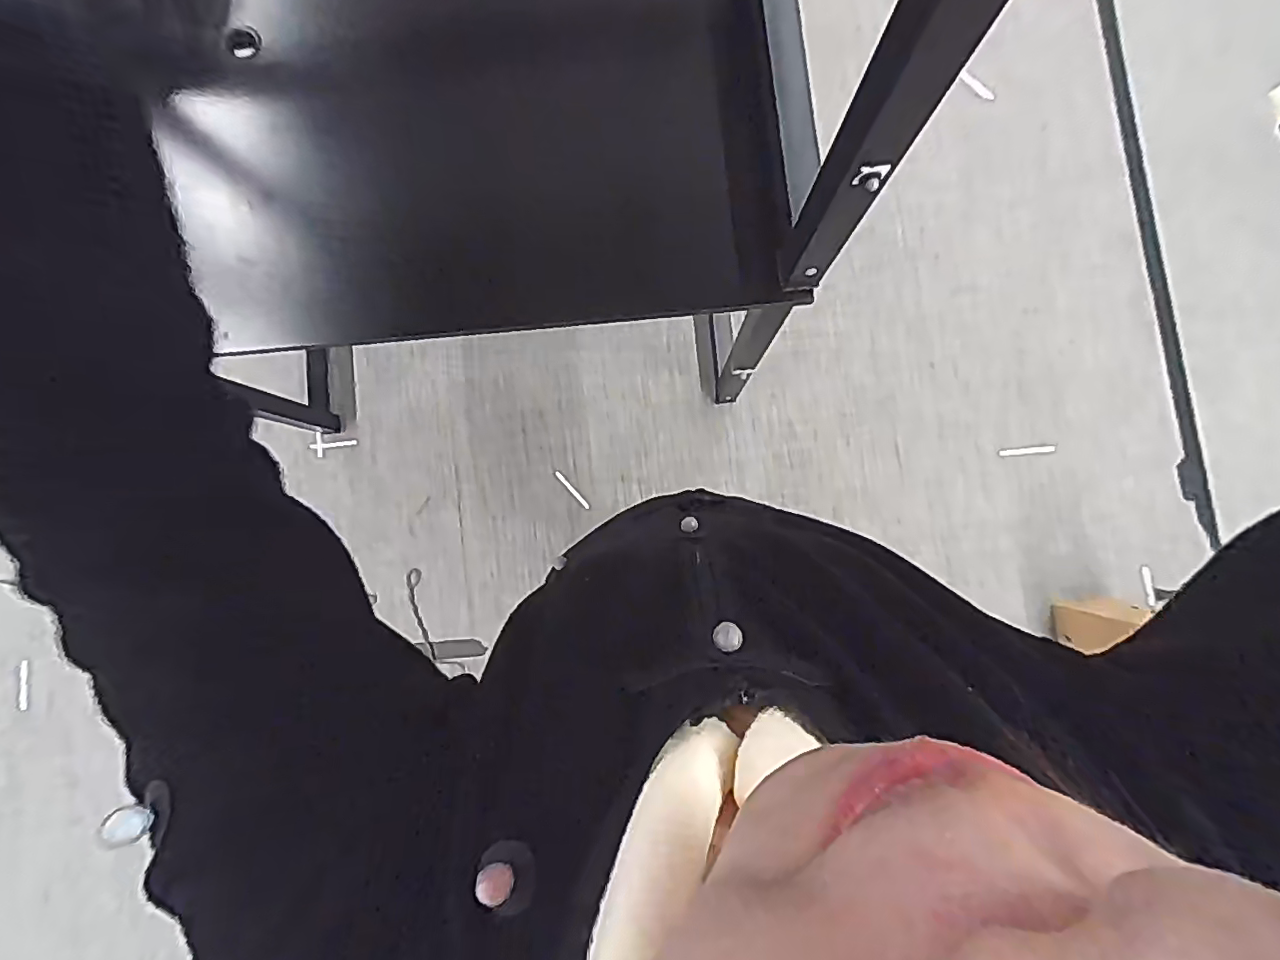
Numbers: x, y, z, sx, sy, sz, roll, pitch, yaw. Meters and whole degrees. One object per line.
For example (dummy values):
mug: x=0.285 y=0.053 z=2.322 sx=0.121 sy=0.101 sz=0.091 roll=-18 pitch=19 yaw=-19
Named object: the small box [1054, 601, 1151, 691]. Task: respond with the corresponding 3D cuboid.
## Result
small box: x=1.197 y=0.414 z=1.369 sx=0.168 sy=0.176 sz=0.179 roll=-5 pitch=87 yaw=1
